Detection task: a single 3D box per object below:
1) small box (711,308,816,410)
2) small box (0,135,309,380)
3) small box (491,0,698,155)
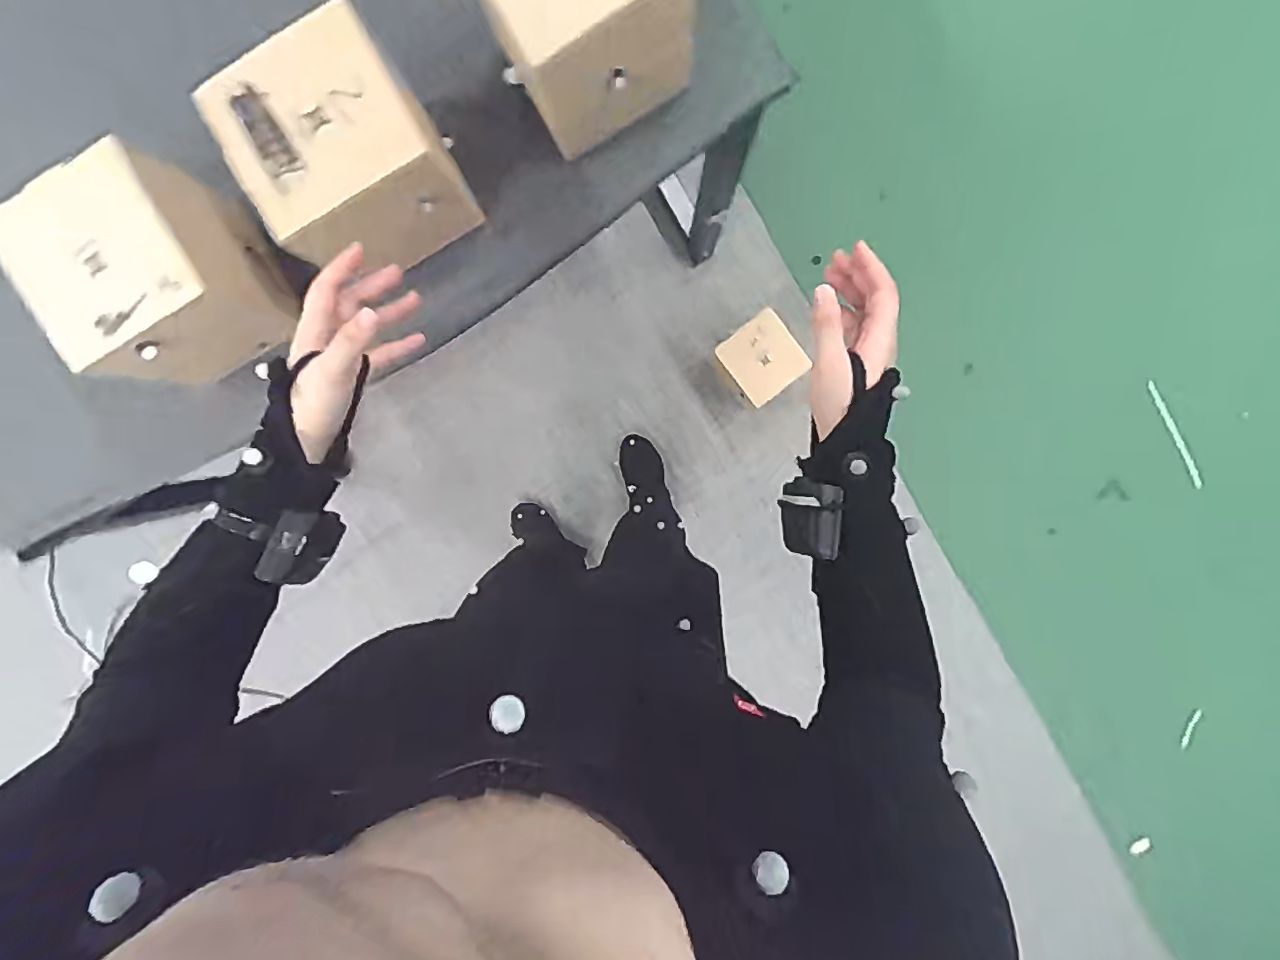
[{"bbox_3d":[0.292,-0.290,1.321,0.168,0.176,0.179,-38,95,5],"label":"small box"},{"bbox_3d":[-0.533,-0.232,0.616,0.168,0.176,0.179,-28,93,6],"label":"small box"},{"bbox_3d":[-0.053,-0.494,0.567,0.179,0.176,0.168,-29,91,6],"label":"small box"}]
